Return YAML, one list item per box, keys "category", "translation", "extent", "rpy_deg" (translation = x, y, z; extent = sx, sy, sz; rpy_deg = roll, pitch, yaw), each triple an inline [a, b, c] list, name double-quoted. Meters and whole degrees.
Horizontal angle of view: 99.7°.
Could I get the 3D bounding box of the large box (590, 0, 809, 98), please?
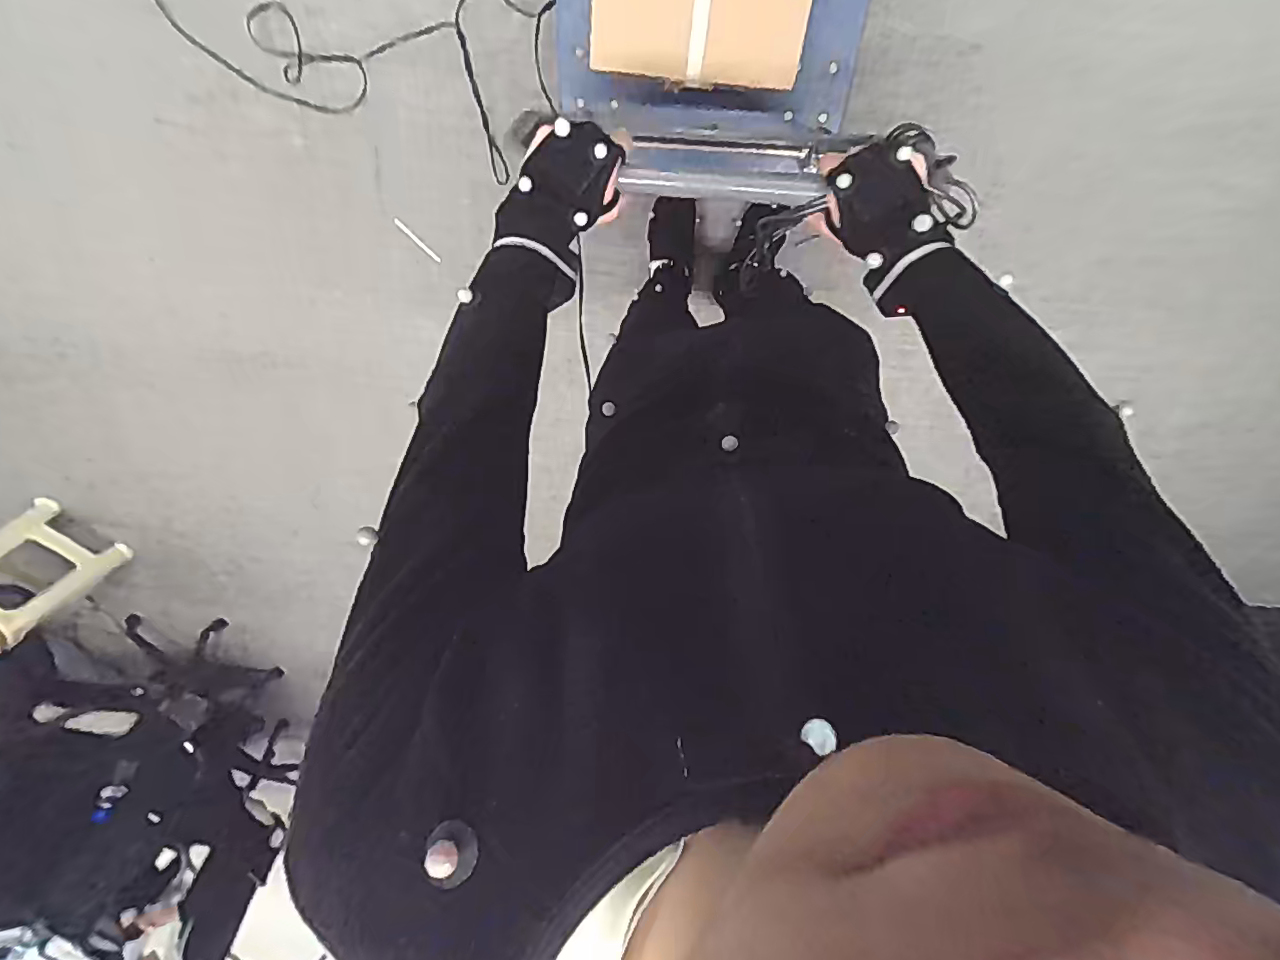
- category: "large box"
  translation: [0.103, -0.850, 0.838]
  extent: [0.320, 0.320, 0.408]
  rpy_deg: [6, 125, -1]
